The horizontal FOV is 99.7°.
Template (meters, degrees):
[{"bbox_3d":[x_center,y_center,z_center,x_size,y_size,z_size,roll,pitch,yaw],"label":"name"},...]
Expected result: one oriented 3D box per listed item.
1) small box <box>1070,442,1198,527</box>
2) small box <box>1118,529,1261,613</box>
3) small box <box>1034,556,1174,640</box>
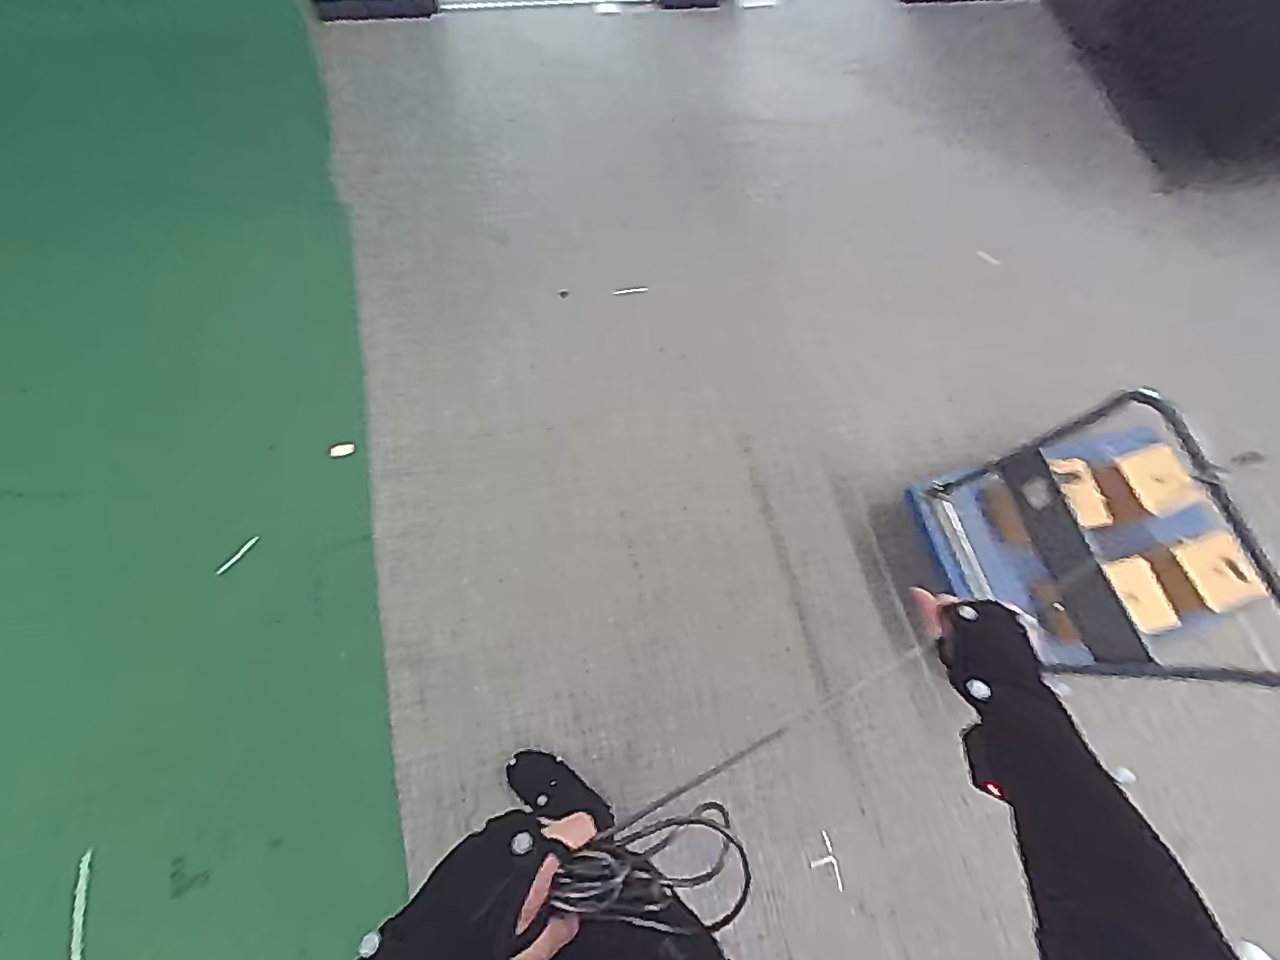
[{"bbox_3d":[1.344,0.018,1.492,0.179,0.176,0.168,-16,74,-11],"label":"small box"},{"bbox_3d":[1.427,0.245,1.421,0.179,0.176,0.168,-16,73,-11],"label":"small box"},{"bbox_3d":[1.166,0.304,1.374,0.179,0.176,0.168,-12,72,-9],"label":"small box"}]
